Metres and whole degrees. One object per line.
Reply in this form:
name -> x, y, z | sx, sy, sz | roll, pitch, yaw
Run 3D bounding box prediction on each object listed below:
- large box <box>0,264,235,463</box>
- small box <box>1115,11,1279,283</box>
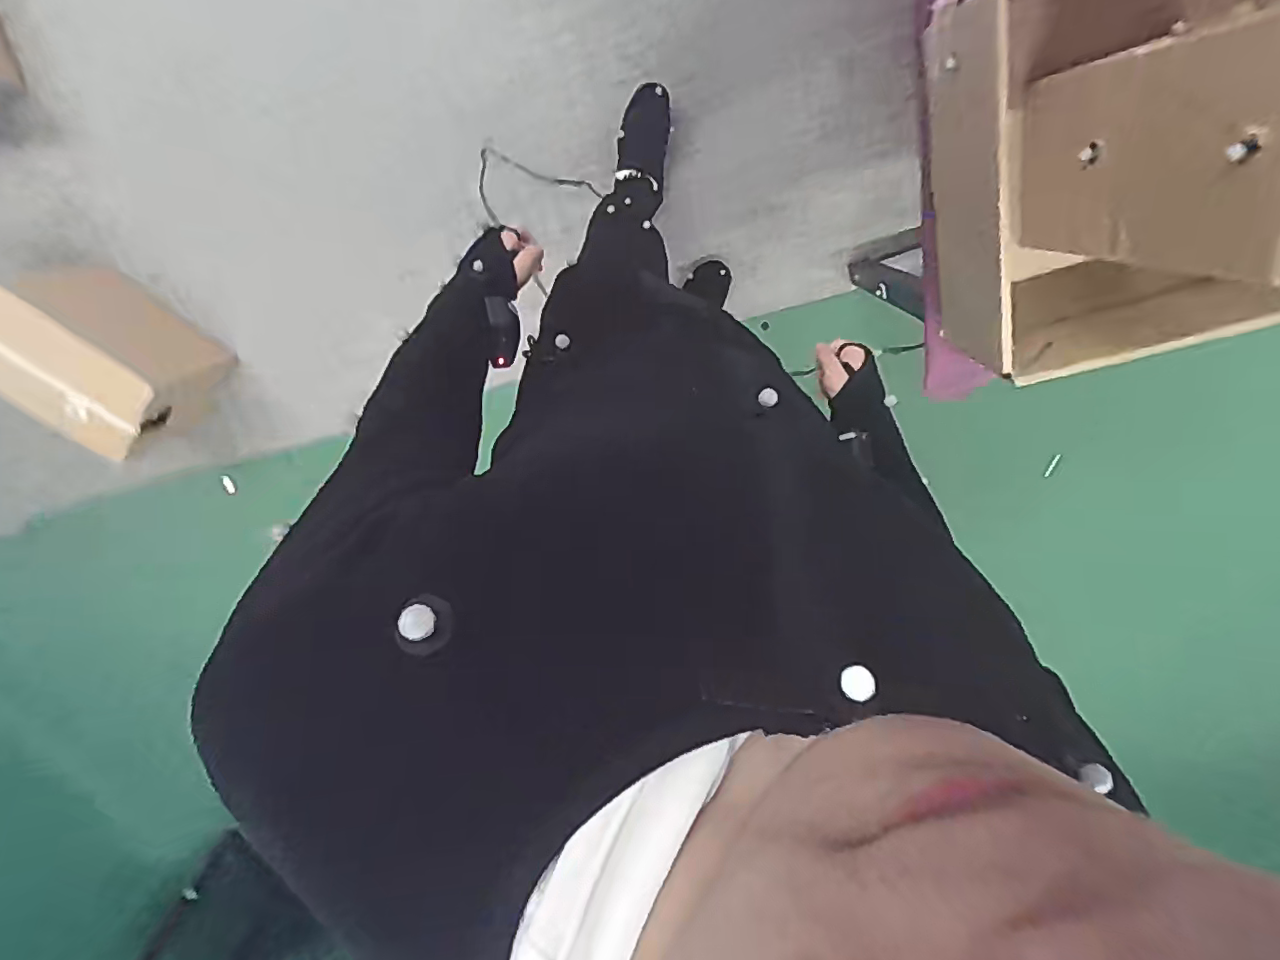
large box -> -1.473, -0.329, 1.502 | 0.408, 0.320, 0.320 | 39, 114, -17
small box -> 0.518, -0.267, 0.416 | 0.168, 0.176, 0.179 | -11, 116, 10
